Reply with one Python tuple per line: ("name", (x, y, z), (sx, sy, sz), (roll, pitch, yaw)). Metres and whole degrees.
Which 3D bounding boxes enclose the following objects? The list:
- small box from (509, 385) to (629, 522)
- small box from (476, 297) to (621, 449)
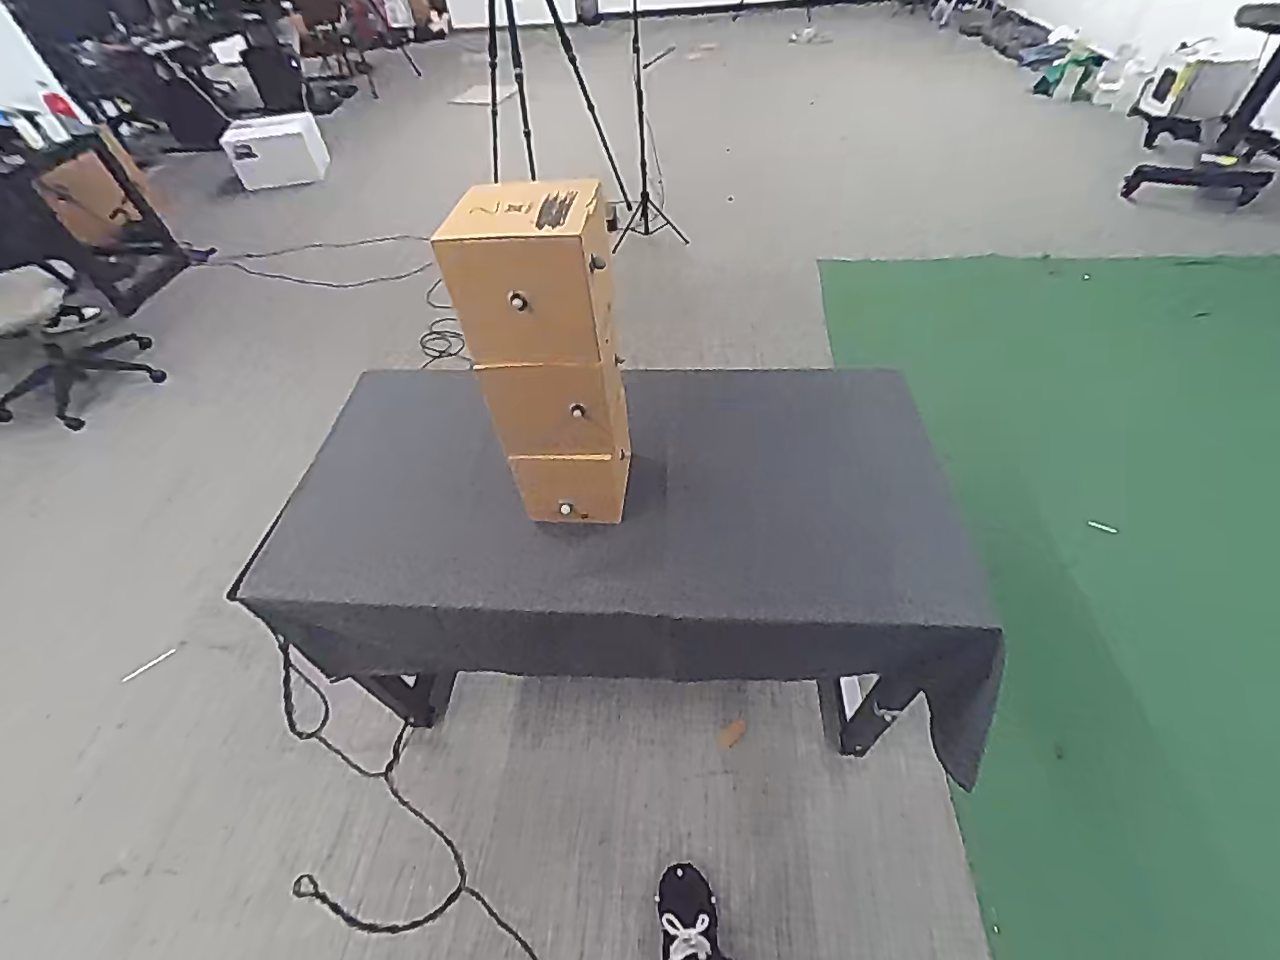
("small box", (-0.112, -0.049, 0.944), (0.168, 0.176, 0.179), (2, 49, 6))
("small box", (-0.125, -0.160, 0.825), (0.179, 0.176, 0.168), (0, 48, 5))
